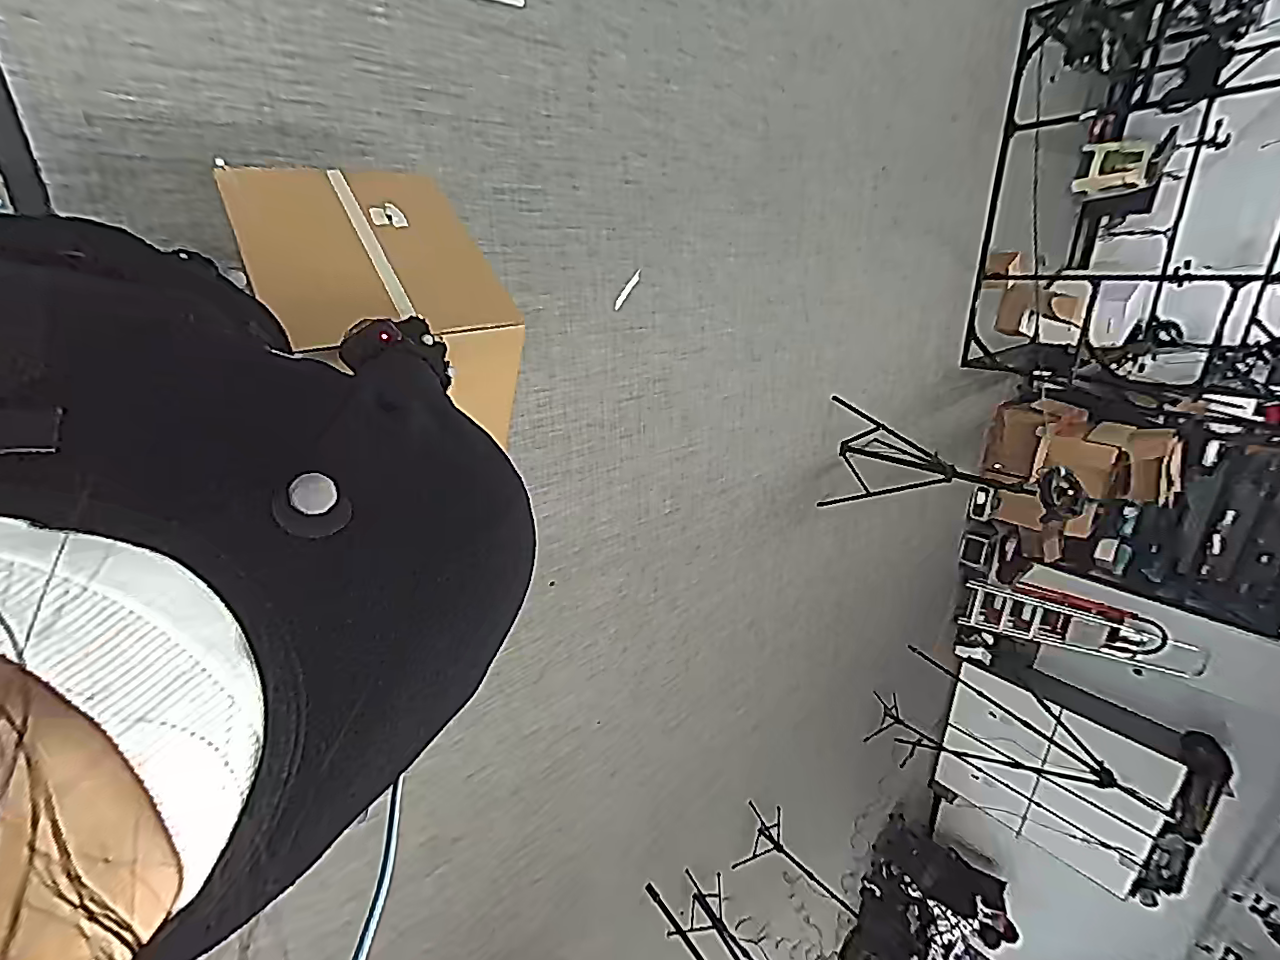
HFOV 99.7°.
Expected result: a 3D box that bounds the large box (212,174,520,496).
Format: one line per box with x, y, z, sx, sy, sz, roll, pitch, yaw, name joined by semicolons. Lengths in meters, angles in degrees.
-0.440;-0.248;0.903;0.320;0.408;0.320;-19;152;-32;large box
